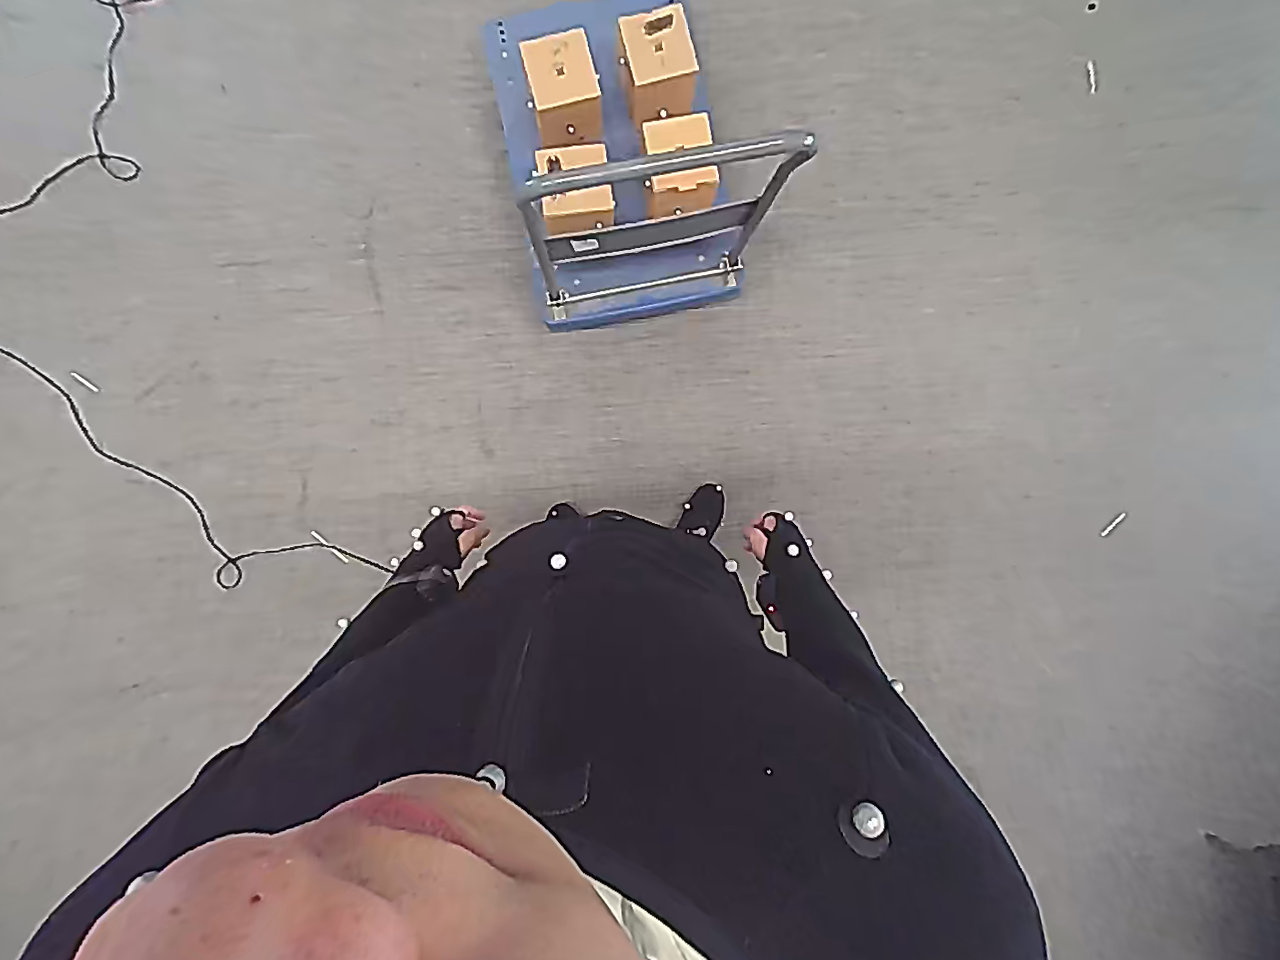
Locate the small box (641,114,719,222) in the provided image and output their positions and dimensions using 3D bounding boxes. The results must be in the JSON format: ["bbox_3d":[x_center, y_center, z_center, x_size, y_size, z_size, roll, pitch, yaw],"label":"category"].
[{"bbox_3d":[0.098,-0.814,1.423,0.168,0.176,0.179,-11,90,-2],"label":"small box"}]

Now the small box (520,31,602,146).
[{"bbox_3d":[-0.200,-1.011,1.417,0.168,0.176,0.179,-15,90,-2],"label":"small box"}]

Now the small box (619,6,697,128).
[{"bbox_3d":[0.042,-1.079,1.424,0.168,0.176,0.179,-15,91,-1],"label":"small box"}]
